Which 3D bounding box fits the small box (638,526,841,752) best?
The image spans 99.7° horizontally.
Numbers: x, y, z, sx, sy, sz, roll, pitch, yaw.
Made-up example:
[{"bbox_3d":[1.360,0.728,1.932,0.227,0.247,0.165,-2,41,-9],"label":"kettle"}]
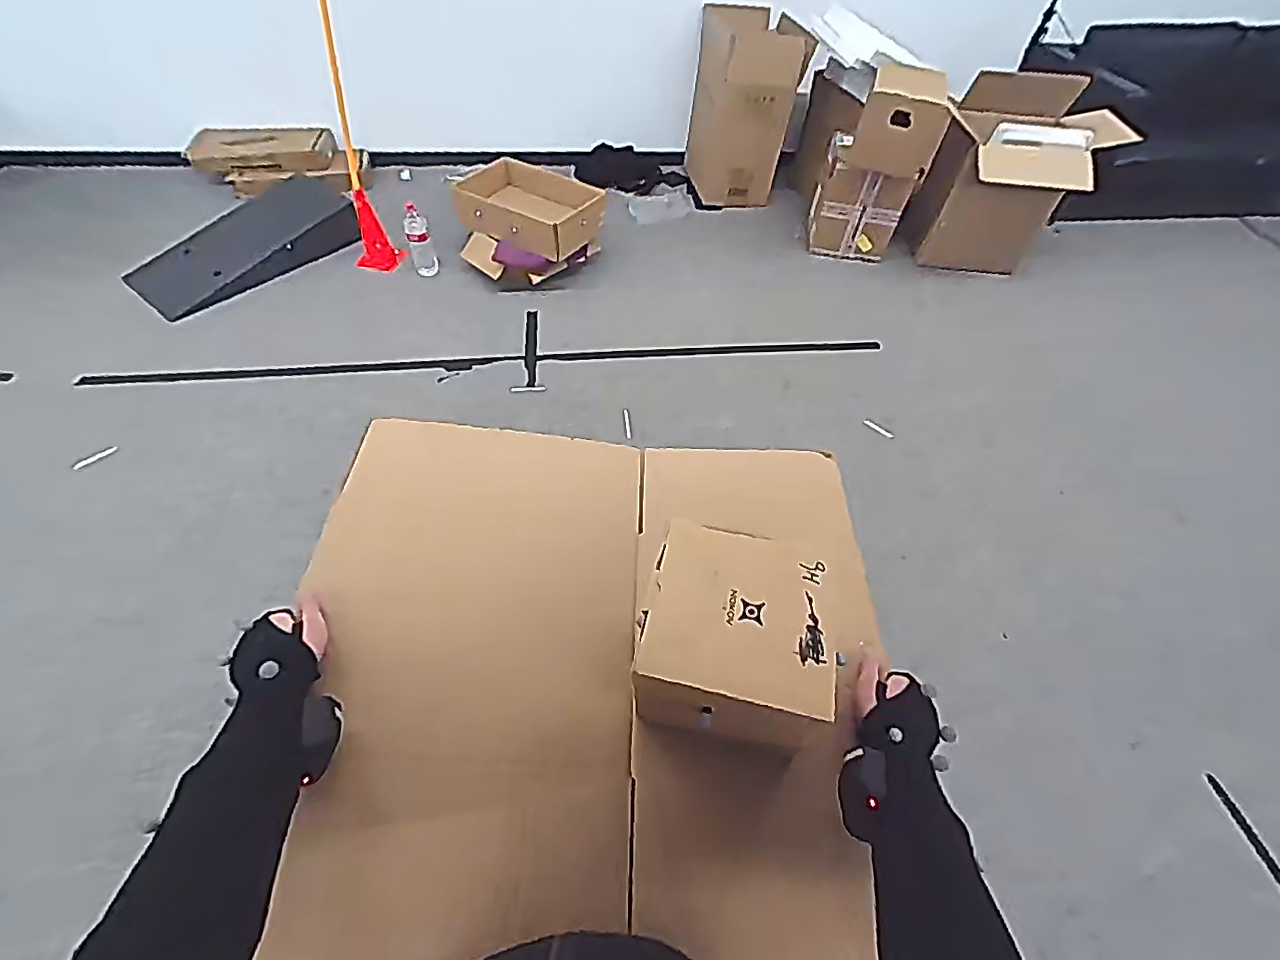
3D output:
[{"bbox_3d":[0.104,0.174,0.580,0.179,0.176,0.168,10,54,10],"label":"small box"}]
